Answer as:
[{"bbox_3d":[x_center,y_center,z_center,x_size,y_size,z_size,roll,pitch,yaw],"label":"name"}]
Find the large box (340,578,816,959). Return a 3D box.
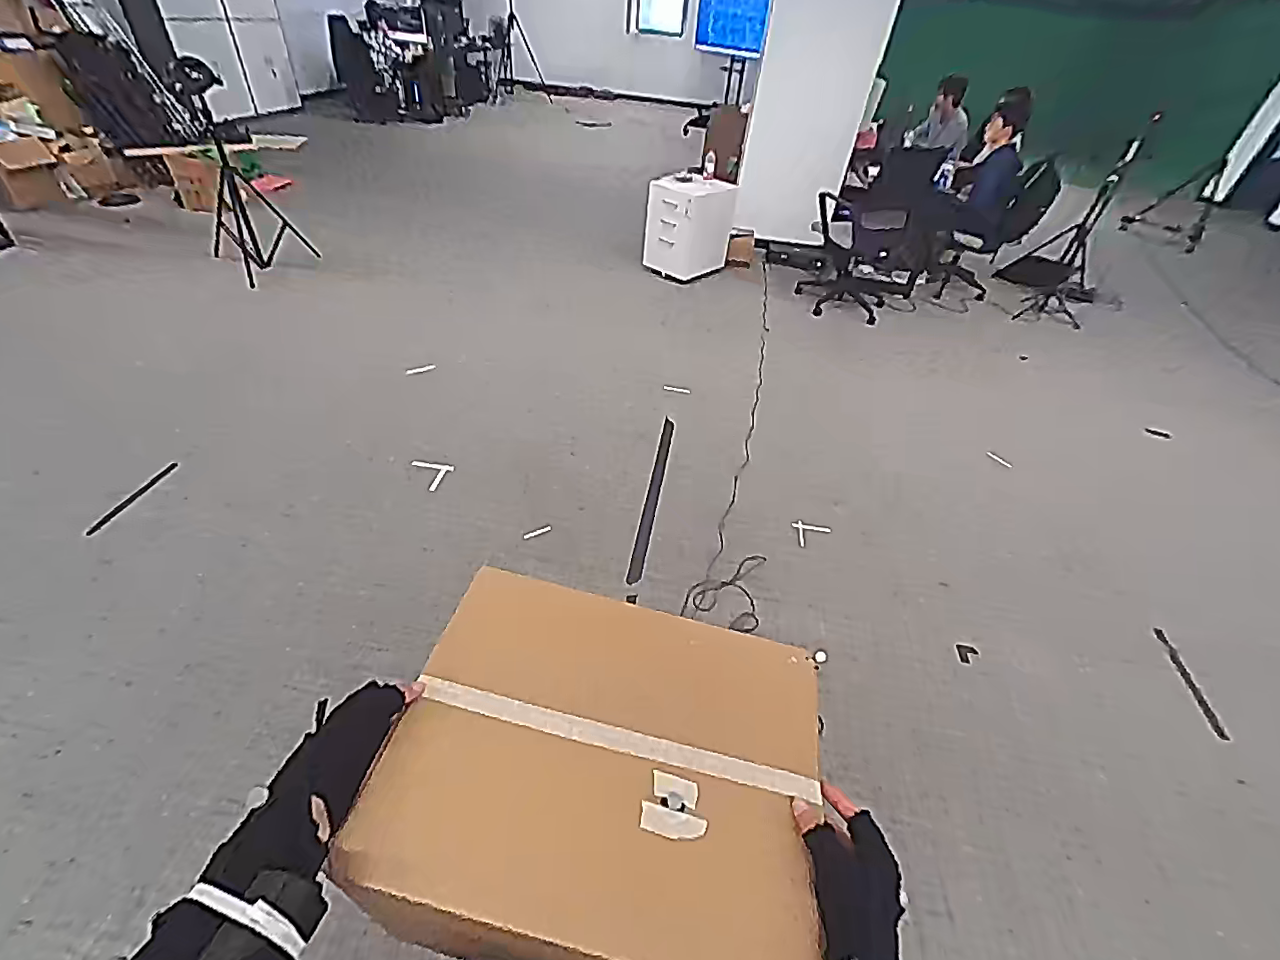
[{"bbox_3d":[-0.049,0.369,0.639,0.408,0.320,0.320,14,43,3],"label":"large box"}]
